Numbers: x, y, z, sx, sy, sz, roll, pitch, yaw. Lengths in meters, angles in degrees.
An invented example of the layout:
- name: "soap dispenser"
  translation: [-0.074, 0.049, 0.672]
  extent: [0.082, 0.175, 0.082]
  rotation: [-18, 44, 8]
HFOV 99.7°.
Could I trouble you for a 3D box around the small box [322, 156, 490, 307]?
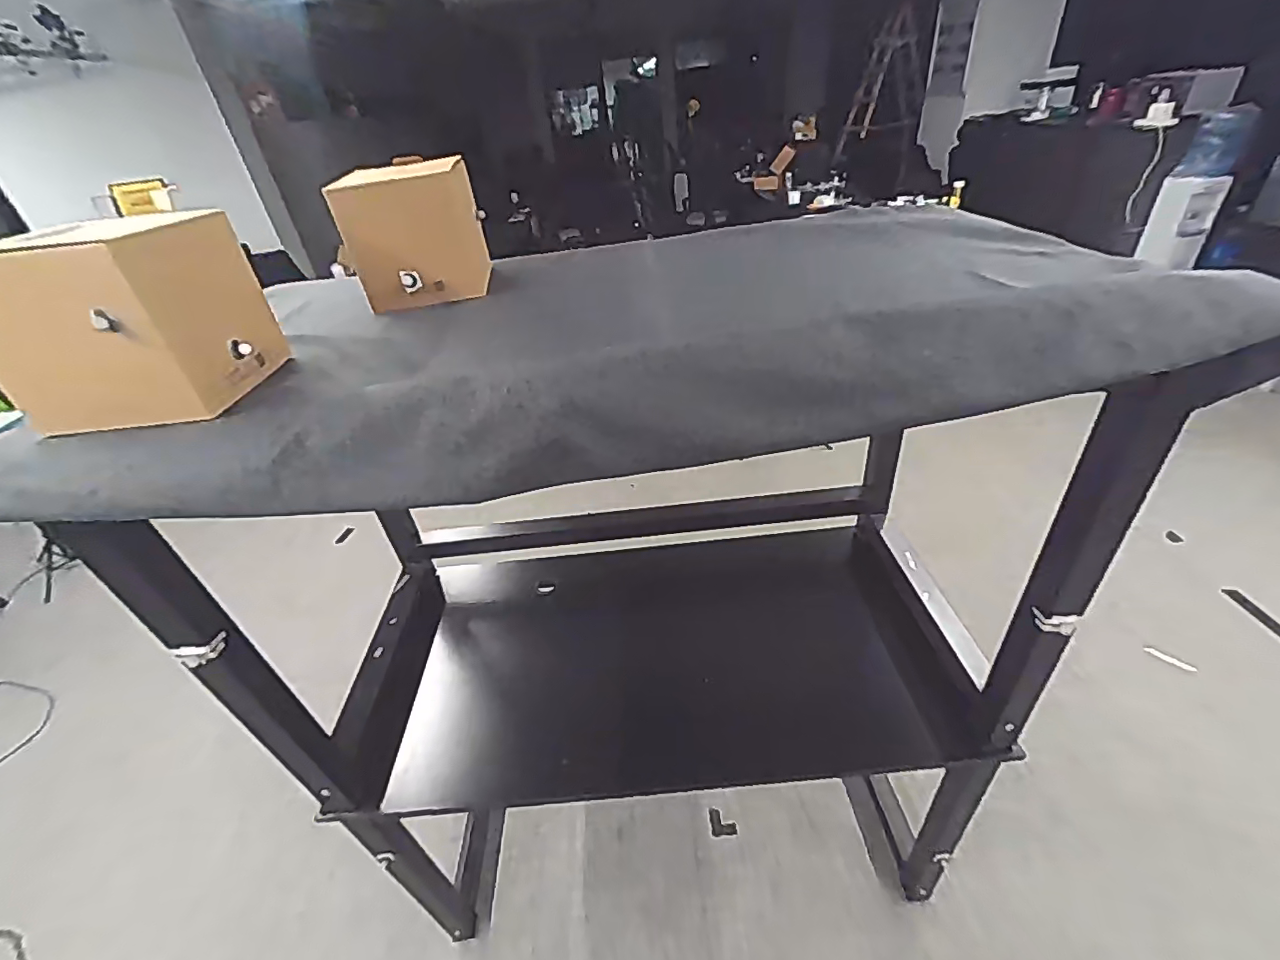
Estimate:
- name: "small box"
  translation: [-0.330, -0.372, 0.806]
  extent: [0.168, 0.176, 0.179]
  rotation: [-12, 35, -4]
